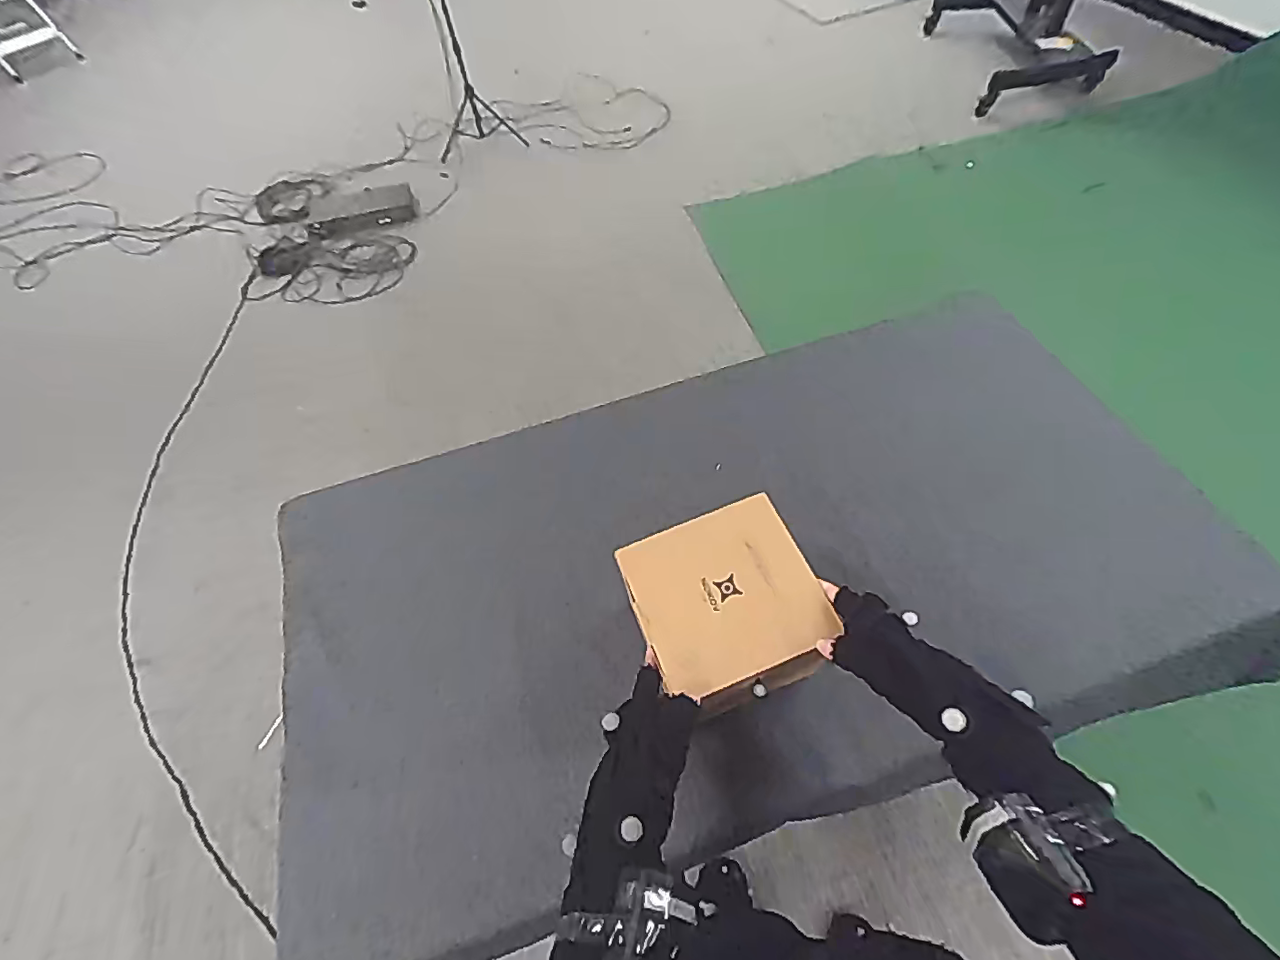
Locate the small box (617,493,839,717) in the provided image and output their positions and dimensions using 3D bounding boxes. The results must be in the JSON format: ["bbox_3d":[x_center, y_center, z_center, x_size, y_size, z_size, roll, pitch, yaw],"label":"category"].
[{"bbox_3d":[0.090,0.149,0.612,0.179,0.176,0.168,-21,60,-8],"label":"small box"}]
